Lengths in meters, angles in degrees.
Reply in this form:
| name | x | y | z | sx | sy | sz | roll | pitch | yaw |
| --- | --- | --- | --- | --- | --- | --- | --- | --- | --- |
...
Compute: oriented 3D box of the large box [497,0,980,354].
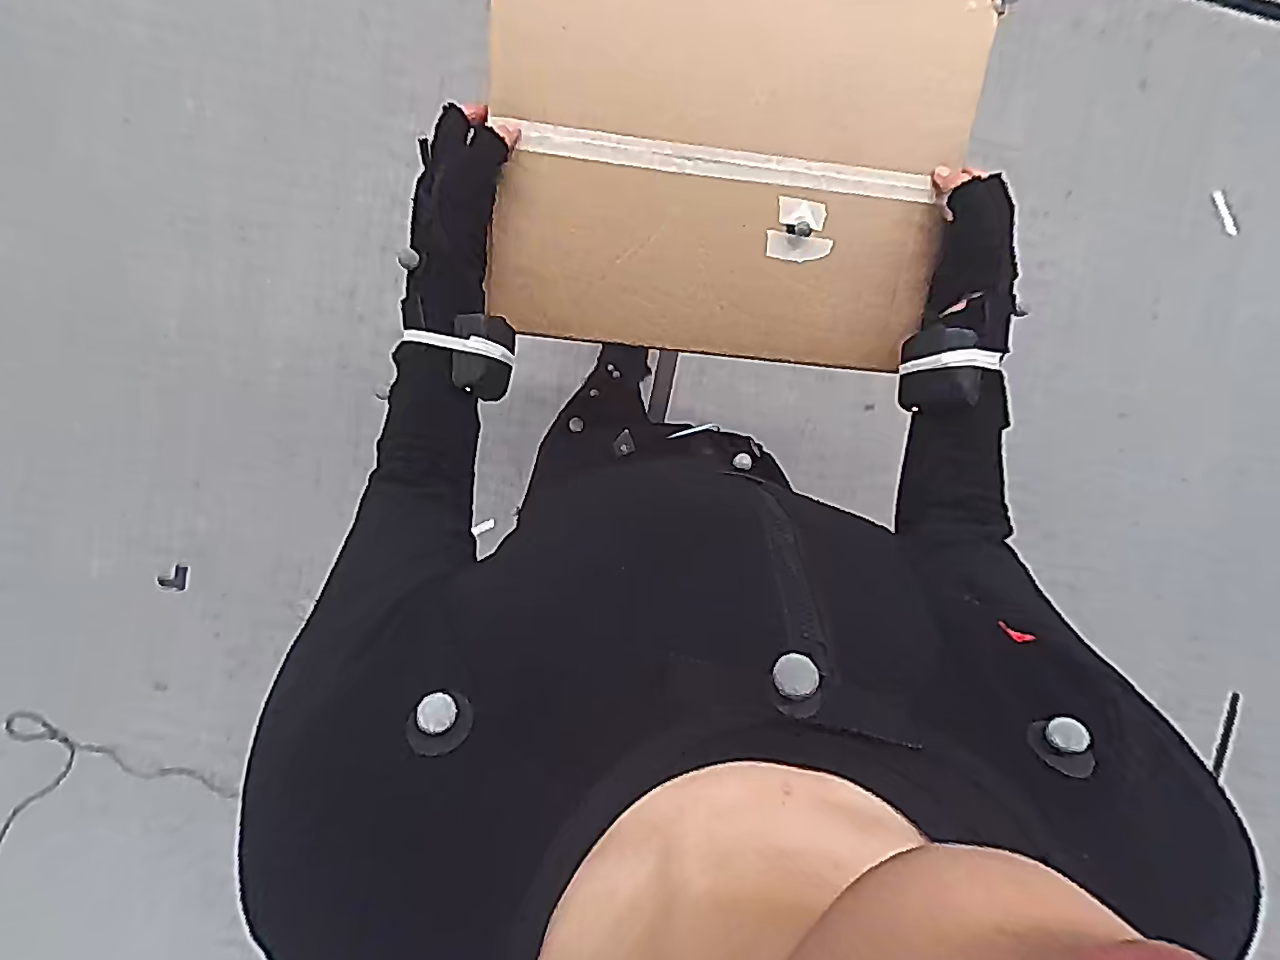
| name | x | y | z | sx | sy | sz | roll | pitch | yaw |
| --- | --- | --- | --- | --- | --- | --- | --- | --- | --- |
| large box | 0.064 | -0.324 | 0.616 | 0.408 | 0.320 | 0.320 | 4 | 107 | -6 |
